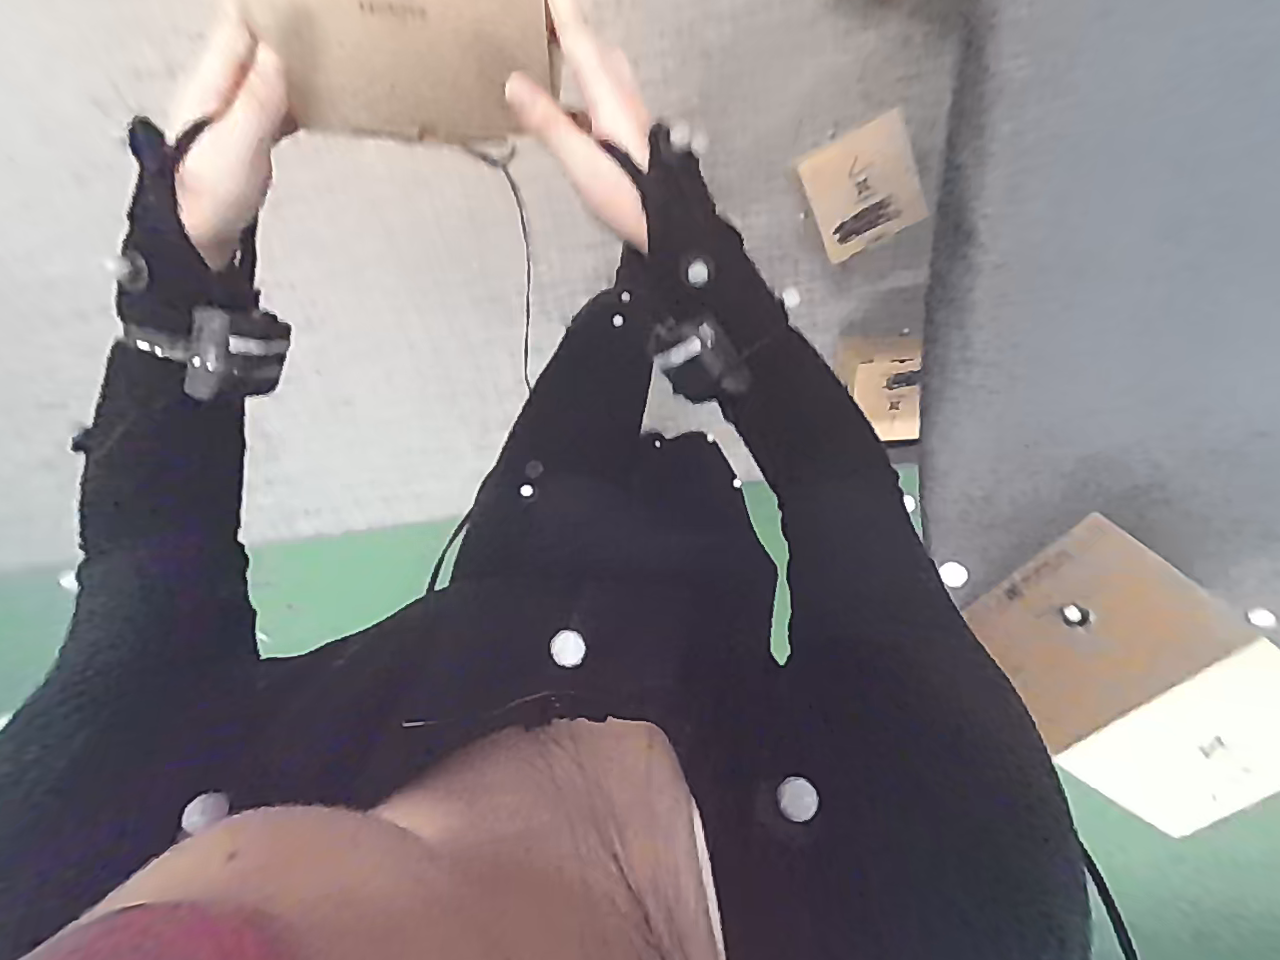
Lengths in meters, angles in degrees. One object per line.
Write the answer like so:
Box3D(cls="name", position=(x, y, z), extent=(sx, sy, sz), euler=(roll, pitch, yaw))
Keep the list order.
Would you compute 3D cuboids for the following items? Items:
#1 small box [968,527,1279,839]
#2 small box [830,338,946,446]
Box3D(cls="small box", position=(0.444, 0.167, 0.481), extent=(0.179, 0.176, 0.168), euler=(33, 114, -14))
Box3D(cls="small box", position=(0.500, -0.188, 1.120), extent=(0.168, 0.176, 0.179), euler=(-3, 121, 7))
